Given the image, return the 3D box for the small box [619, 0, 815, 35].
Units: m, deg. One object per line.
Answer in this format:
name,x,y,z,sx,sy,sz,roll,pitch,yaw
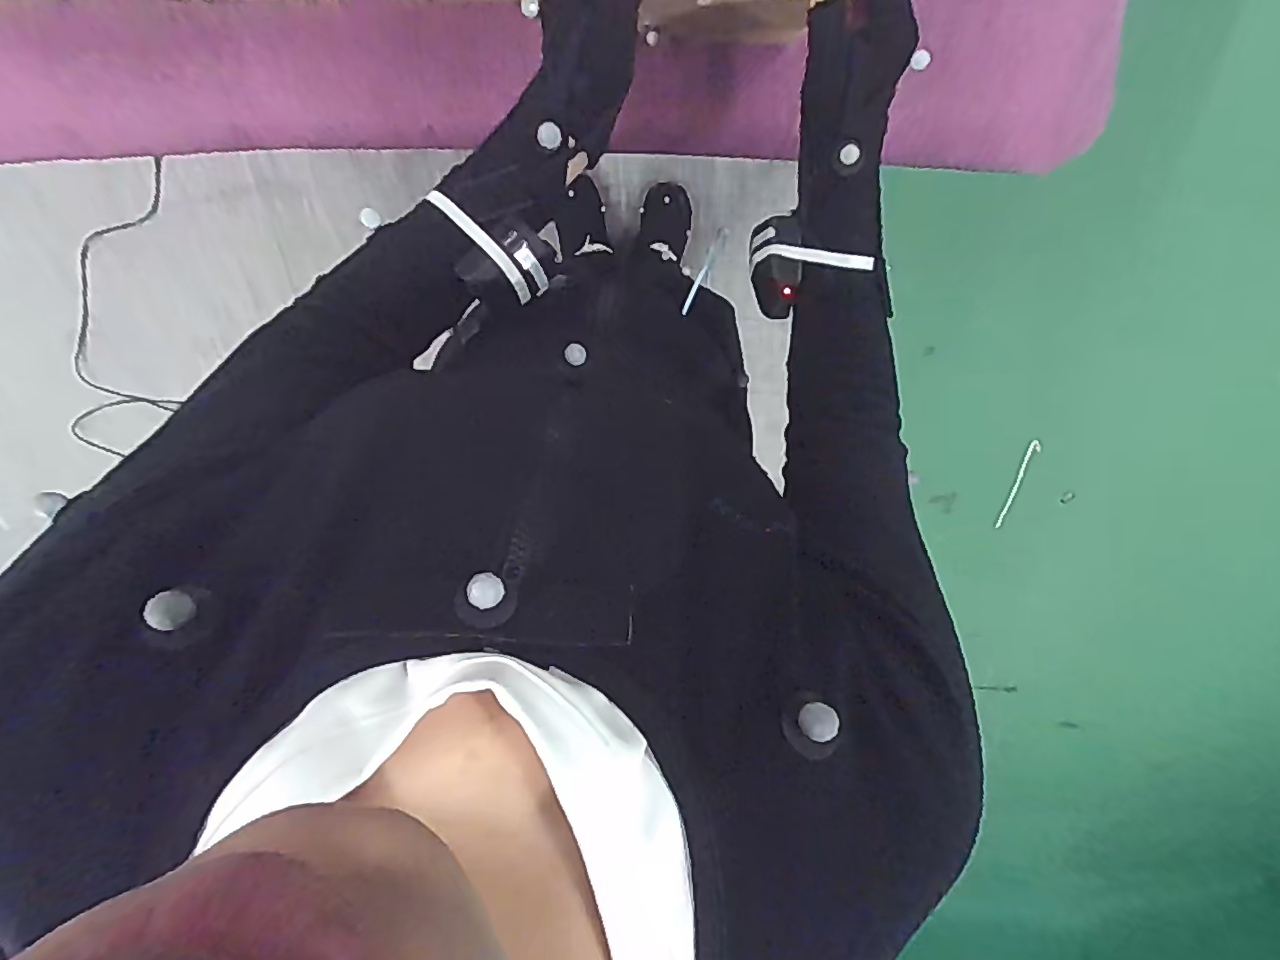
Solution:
small box,0.067,-0.458,0.400,0.168,0.176,0.179,3,119,-2
